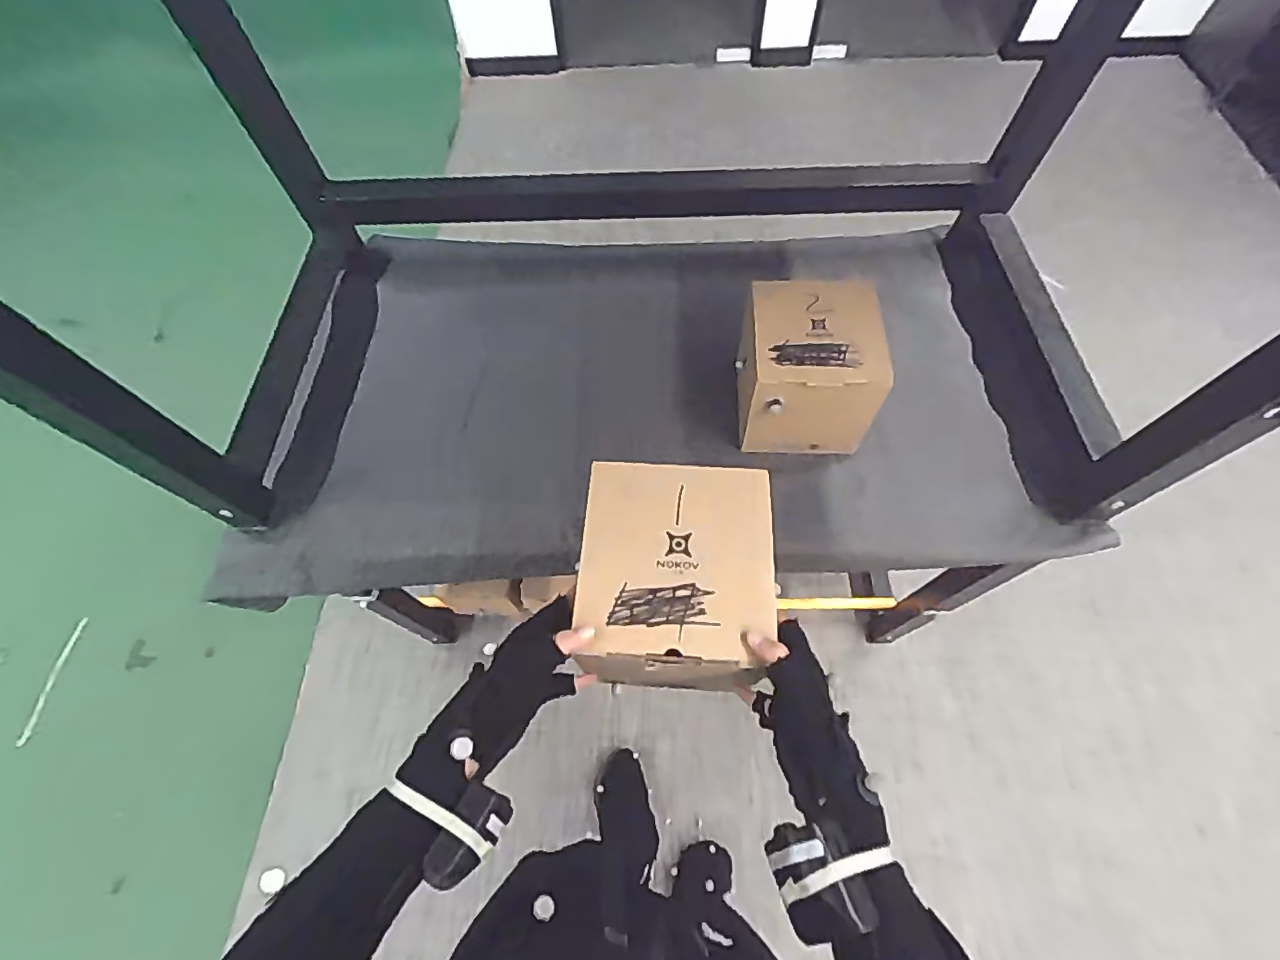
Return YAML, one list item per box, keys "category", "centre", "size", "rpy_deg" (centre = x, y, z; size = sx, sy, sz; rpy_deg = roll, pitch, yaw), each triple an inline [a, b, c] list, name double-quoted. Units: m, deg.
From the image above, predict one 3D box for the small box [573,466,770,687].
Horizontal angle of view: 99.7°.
- category: "small box"
  centre: [0.034, 0.105, 0.550]
  size: [0.168, 0.176, 0.179]
  rpy_deg: [3, 60, 3]
